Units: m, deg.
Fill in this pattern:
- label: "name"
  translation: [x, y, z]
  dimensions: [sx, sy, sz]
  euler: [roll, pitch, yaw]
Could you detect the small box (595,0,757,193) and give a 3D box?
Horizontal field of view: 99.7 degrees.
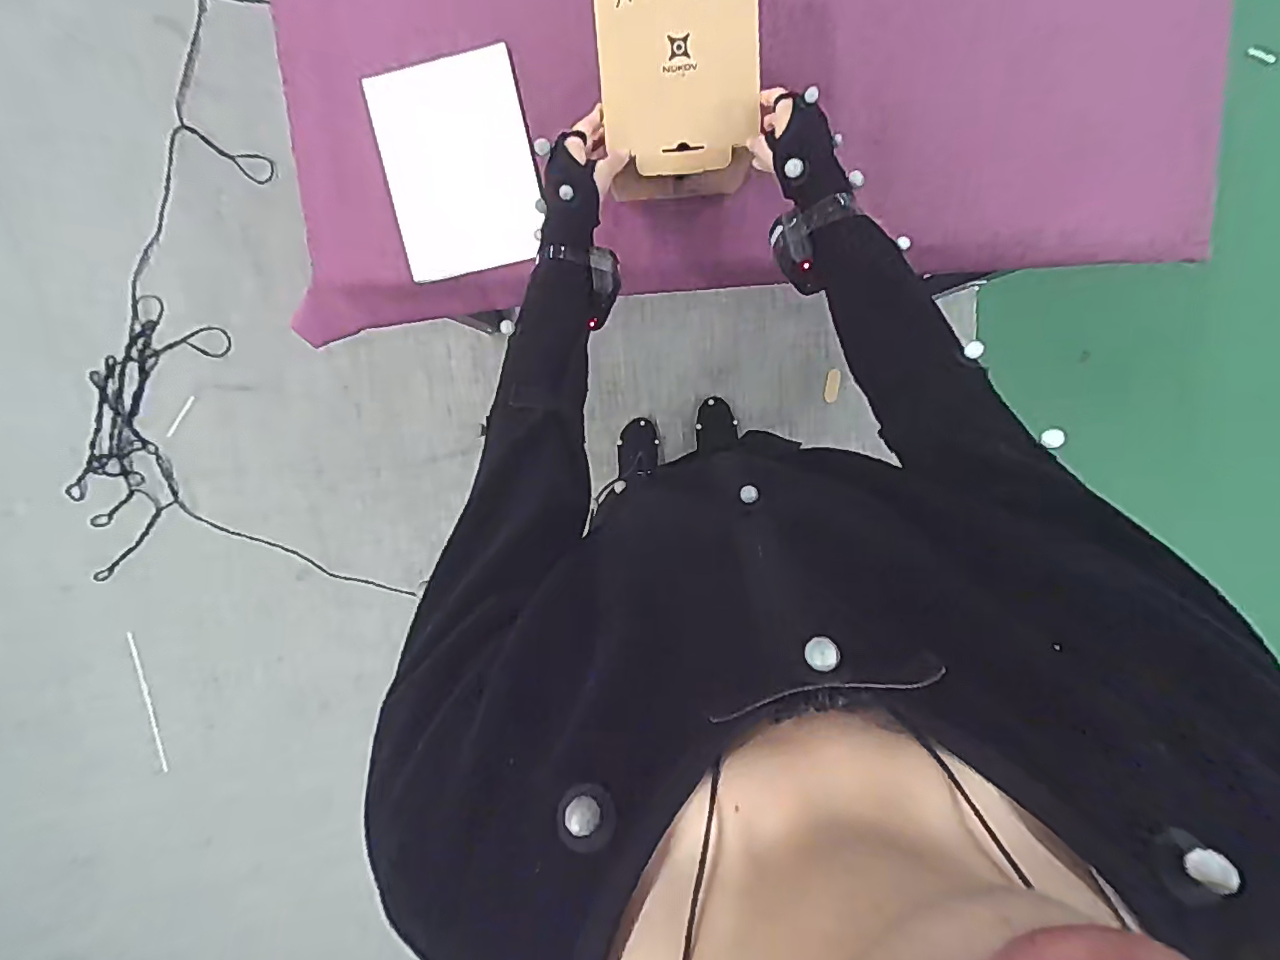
- label: "small box"
  translation: [0.041, -0.451, 0.634]
  dimensions: [0.168, 0.176, 0.179]
  euler: [-3, 103, 2]
